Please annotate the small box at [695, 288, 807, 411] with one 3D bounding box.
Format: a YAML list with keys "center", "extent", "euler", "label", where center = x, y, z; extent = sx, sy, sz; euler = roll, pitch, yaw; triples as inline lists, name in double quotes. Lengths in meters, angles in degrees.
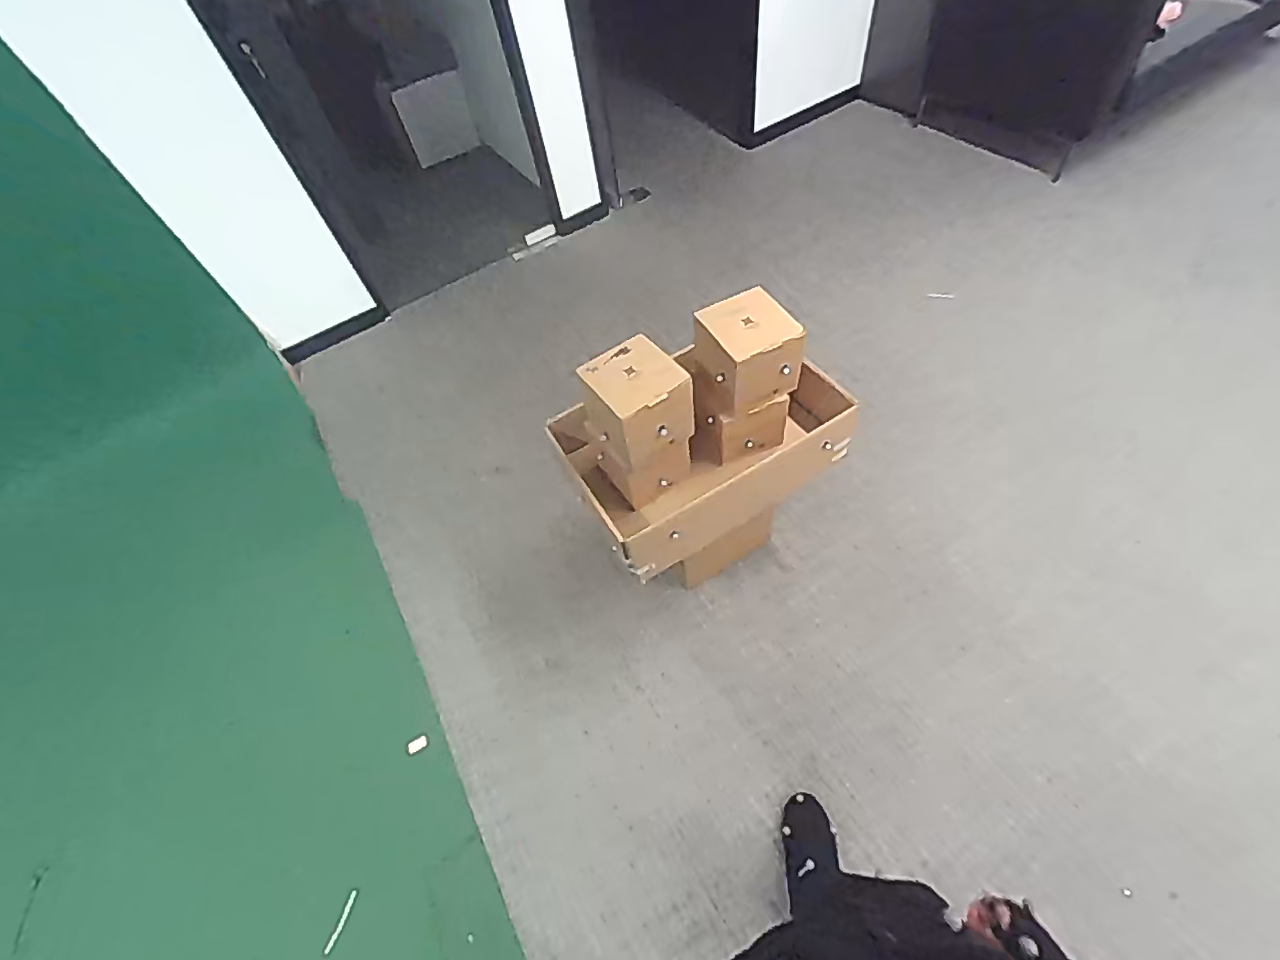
- center: [0.231, -0.271, 1.161]
  extent: [0.168, 0.176, 0.179]
  euler: [-24, 56, -10]
  label: "small box"

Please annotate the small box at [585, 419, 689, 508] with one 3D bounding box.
- center: [-0.003, -0.069, 1.250]
  extent: [0.168, 0.176, 0.179]
  euler: [-32, 57, -14]
  label: "small box"

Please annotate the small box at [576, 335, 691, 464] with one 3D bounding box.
- center: [-0.006, -0.157, 1.111]
  extent: [0.168, 0.176, 0.179]
  euler: [-31, 58, -15]
  label: "small box"
